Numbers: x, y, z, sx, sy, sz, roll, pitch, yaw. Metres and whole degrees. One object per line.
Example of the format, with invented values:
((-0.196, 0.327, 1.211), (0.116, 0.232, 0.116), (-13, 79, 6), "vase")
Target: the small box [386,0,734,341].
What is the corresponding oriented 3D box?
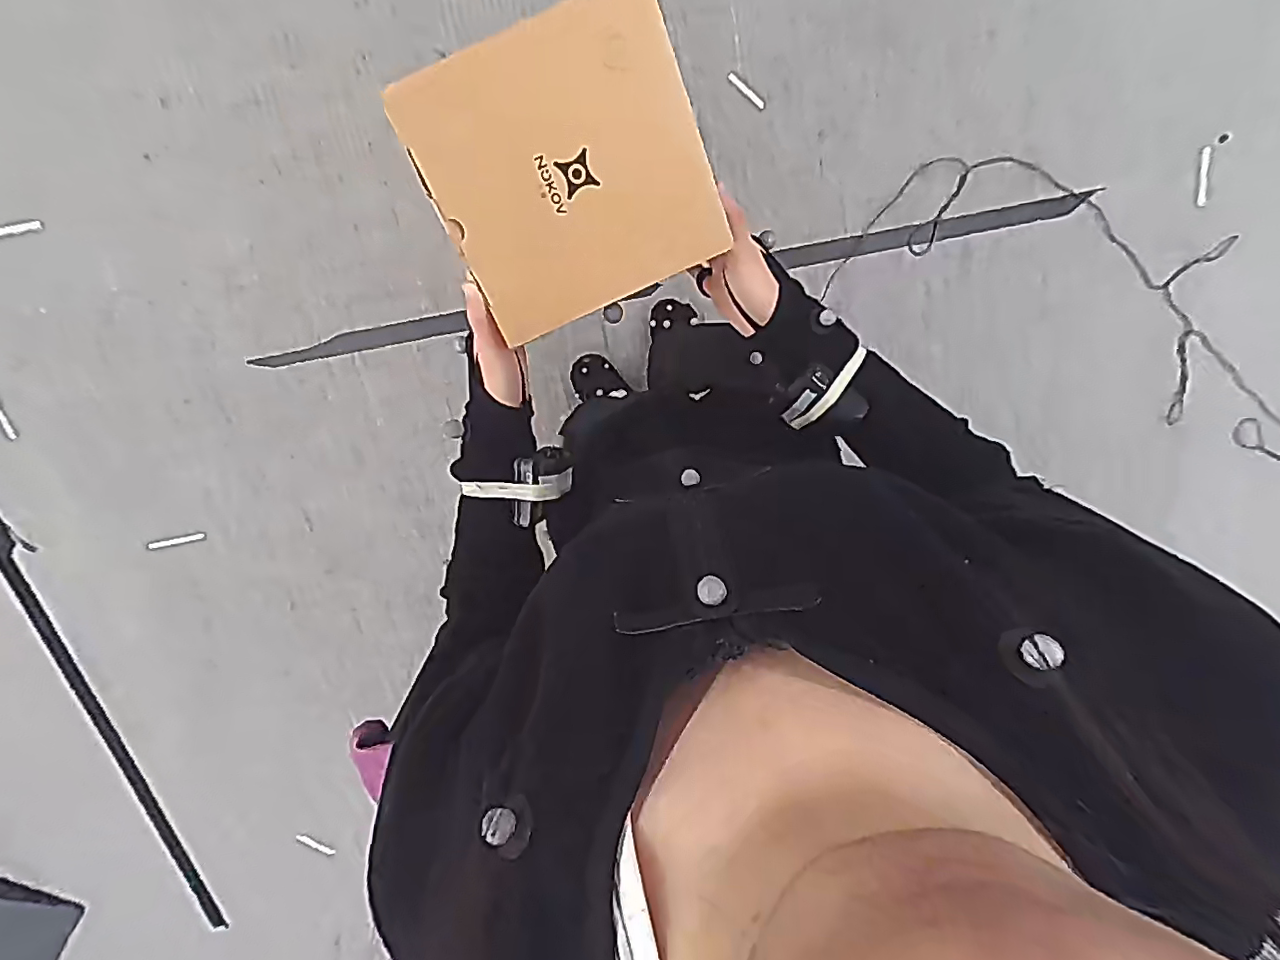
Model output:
((-0.052, -0.230, 0.418), (0.179, 0.176, 0.168), (-23, 114, 4), "small box")
